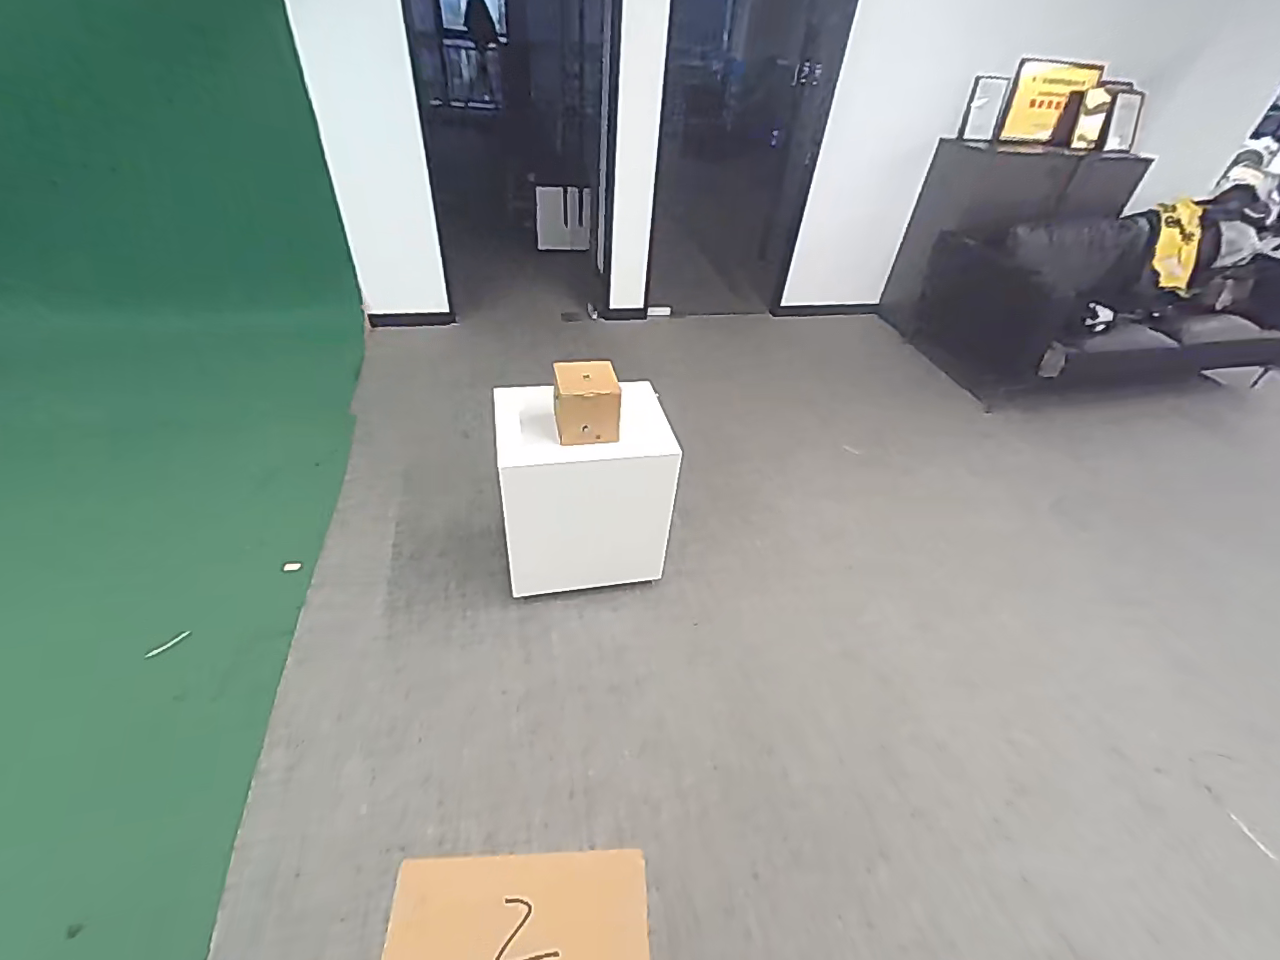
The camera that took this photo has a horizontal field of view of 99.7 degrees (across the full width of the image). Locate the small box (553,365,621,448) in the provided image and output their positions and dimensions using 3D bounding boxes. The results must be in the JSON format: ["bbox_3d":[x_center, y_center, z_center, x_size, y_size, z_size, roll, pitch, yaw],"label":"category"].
[{"bbox_3d":[-0.156,-0.208,1.526,0.168,0.176,0.179,-5,41,-13],"label":"small box"}]
